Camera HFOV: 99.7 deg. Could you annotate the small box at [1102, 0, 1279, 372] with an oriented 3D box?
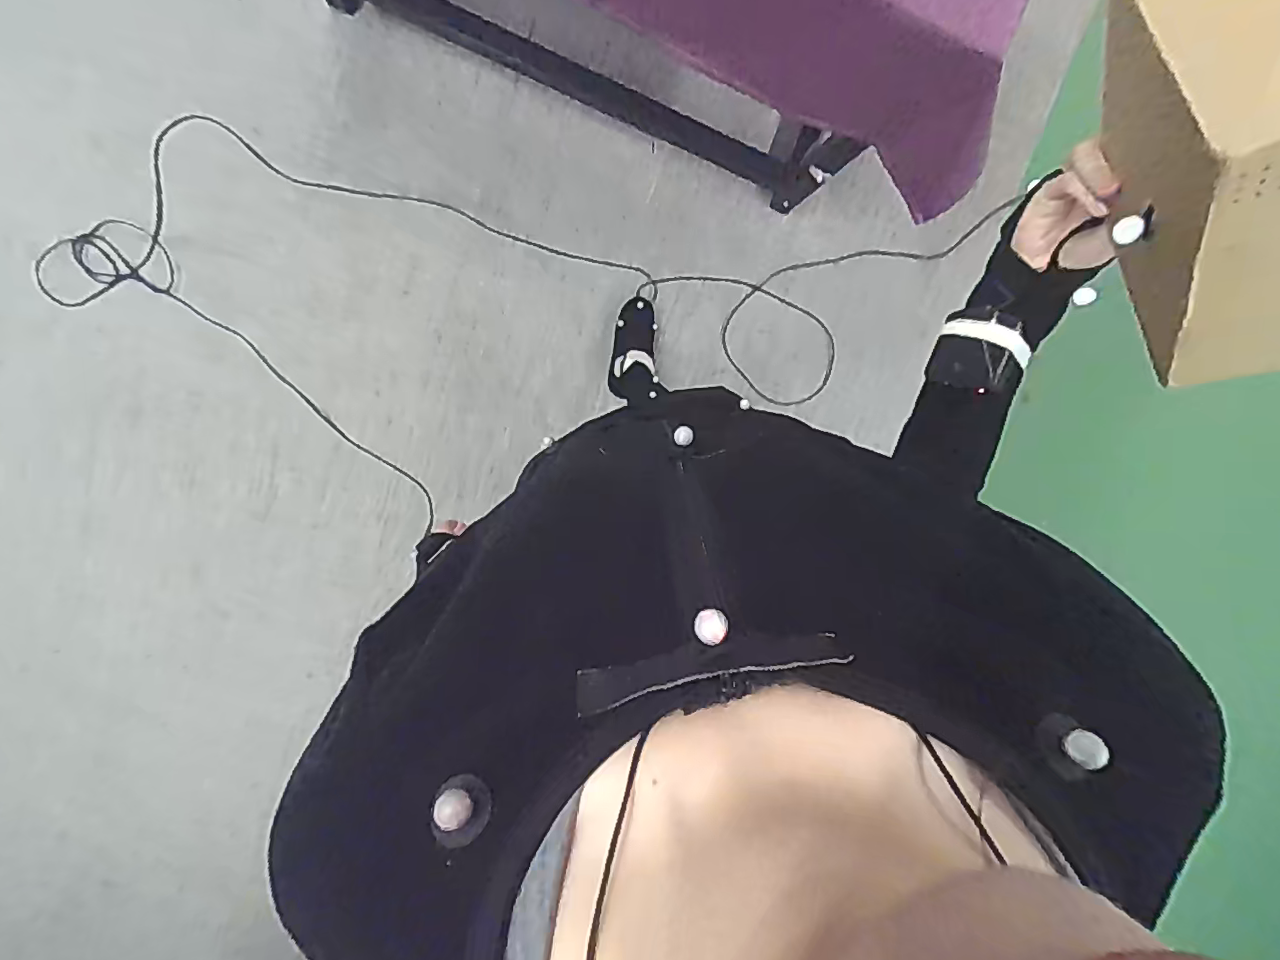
[{"bbox_3d":[0.344,-0.186,0.255,0.176,0.168,0.179,40,51,-44],"label":"small box"}]
